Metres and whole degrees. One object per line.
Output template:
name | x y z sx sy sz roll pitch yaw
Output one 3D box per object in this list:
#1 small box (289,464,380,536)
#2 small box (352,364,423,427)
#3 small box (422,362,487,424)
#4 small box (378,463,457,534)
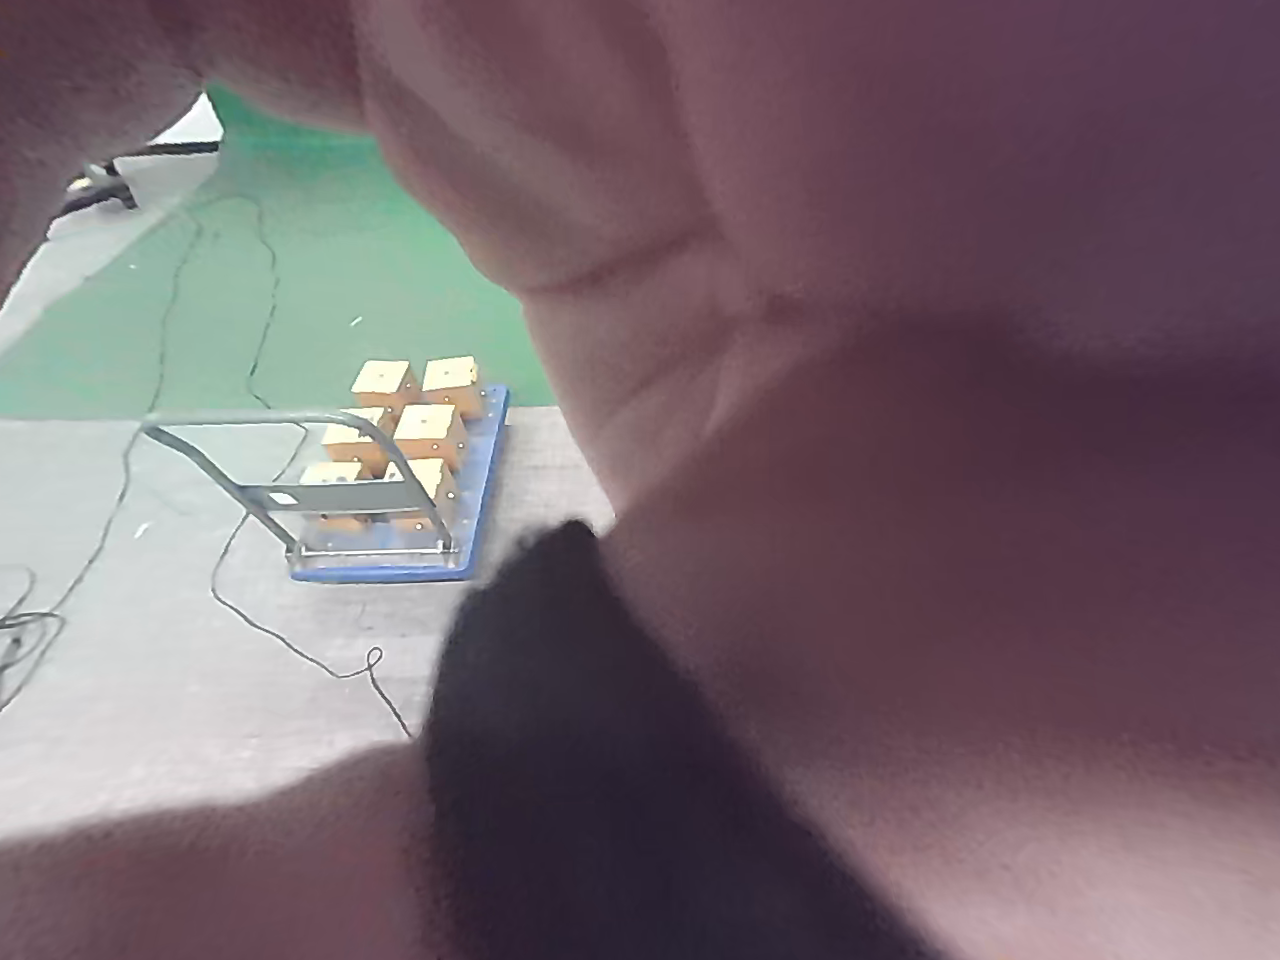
small box | -0.967 0.067 1.737 0.179 0.176 0.168 1 50 3
small box | -0.948 -0.318 2.050 0.168 0.176 0.179 2 51 2
small box | -0.695 -0.326 2.043 0.179 0.176 0.168 0 54 0
small box | -0.704 0.061 1.732 0.179 0.176 0.168 -3 51 -1
